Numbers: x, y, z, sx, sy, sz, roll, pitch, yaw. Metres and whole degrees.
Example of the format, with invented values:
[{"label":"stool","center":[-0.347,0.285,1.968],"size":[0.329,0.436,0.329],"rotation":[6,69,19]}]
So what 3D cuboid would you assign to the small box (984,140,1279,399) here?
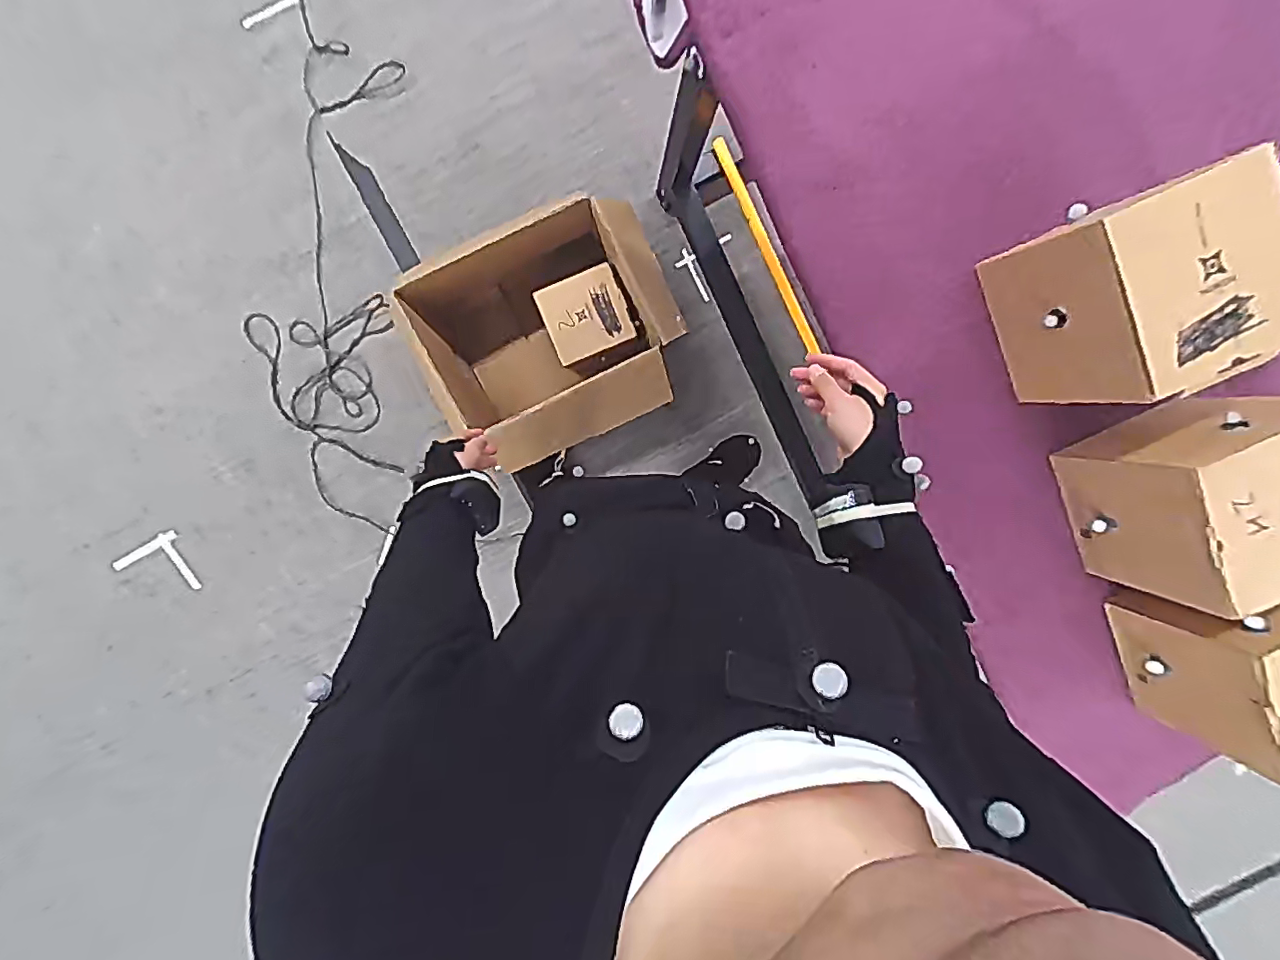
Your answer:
[{"label":"small box","center":[0.503,-0.195,0.555],"size":[0.168,0.176,0.179],"rotation":[-24,98,1]}]

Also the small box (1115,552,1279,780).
[{"label":"small box","center":[0.715,0.201,0.622],"size":[0.179,0.176,0.168],"rotation":[-24,98,0]}]
